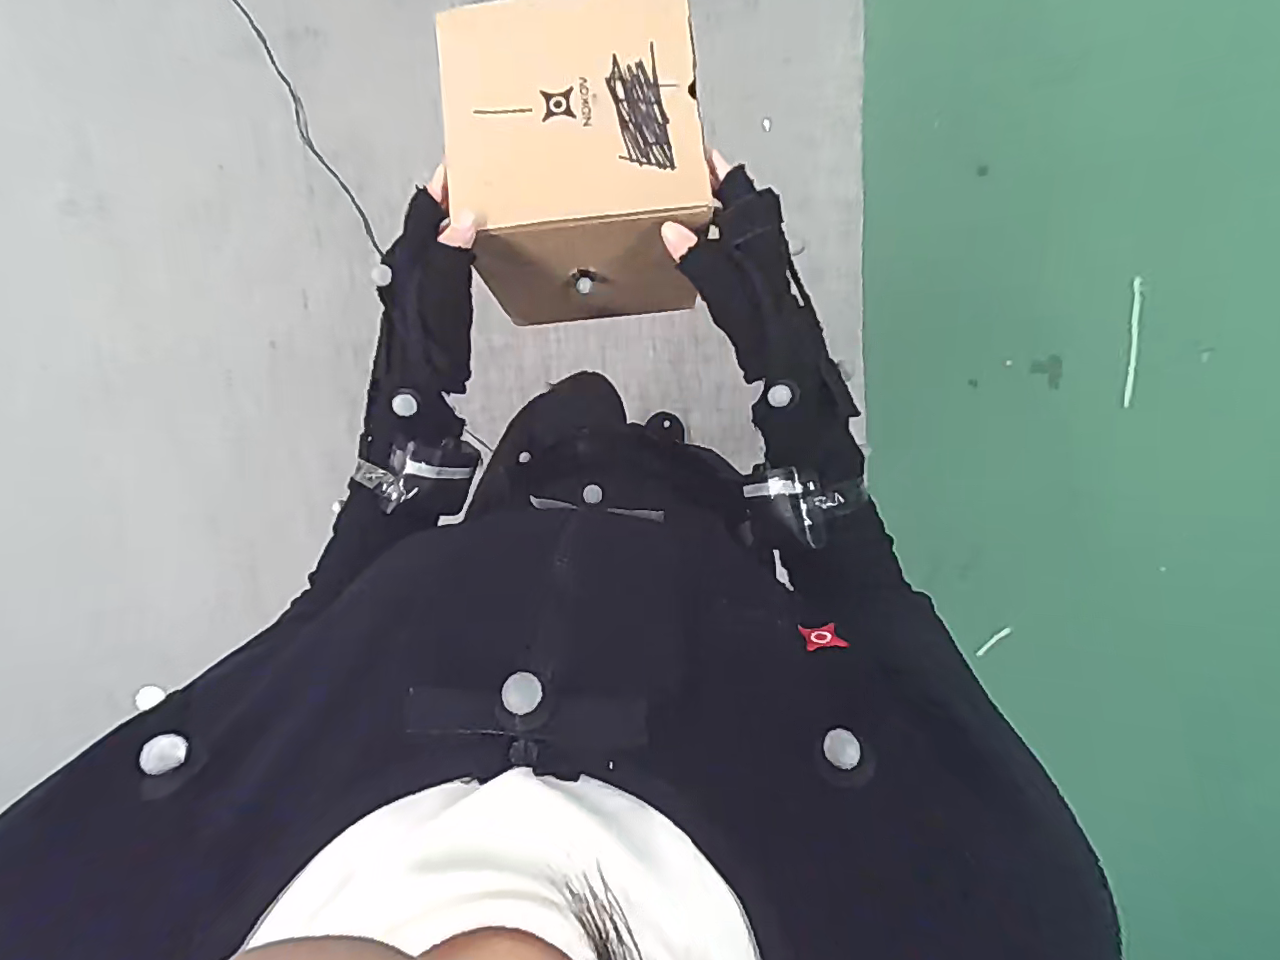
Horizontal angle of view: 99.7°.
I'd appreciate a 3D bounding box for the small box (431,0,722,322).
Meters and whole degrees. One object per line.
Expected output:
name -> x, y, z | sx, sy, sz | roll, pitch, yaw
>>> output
small box -> -0.043, -0.244, 0.436 | 0.179, 0.176, 0.168 | -9, 86, 0
